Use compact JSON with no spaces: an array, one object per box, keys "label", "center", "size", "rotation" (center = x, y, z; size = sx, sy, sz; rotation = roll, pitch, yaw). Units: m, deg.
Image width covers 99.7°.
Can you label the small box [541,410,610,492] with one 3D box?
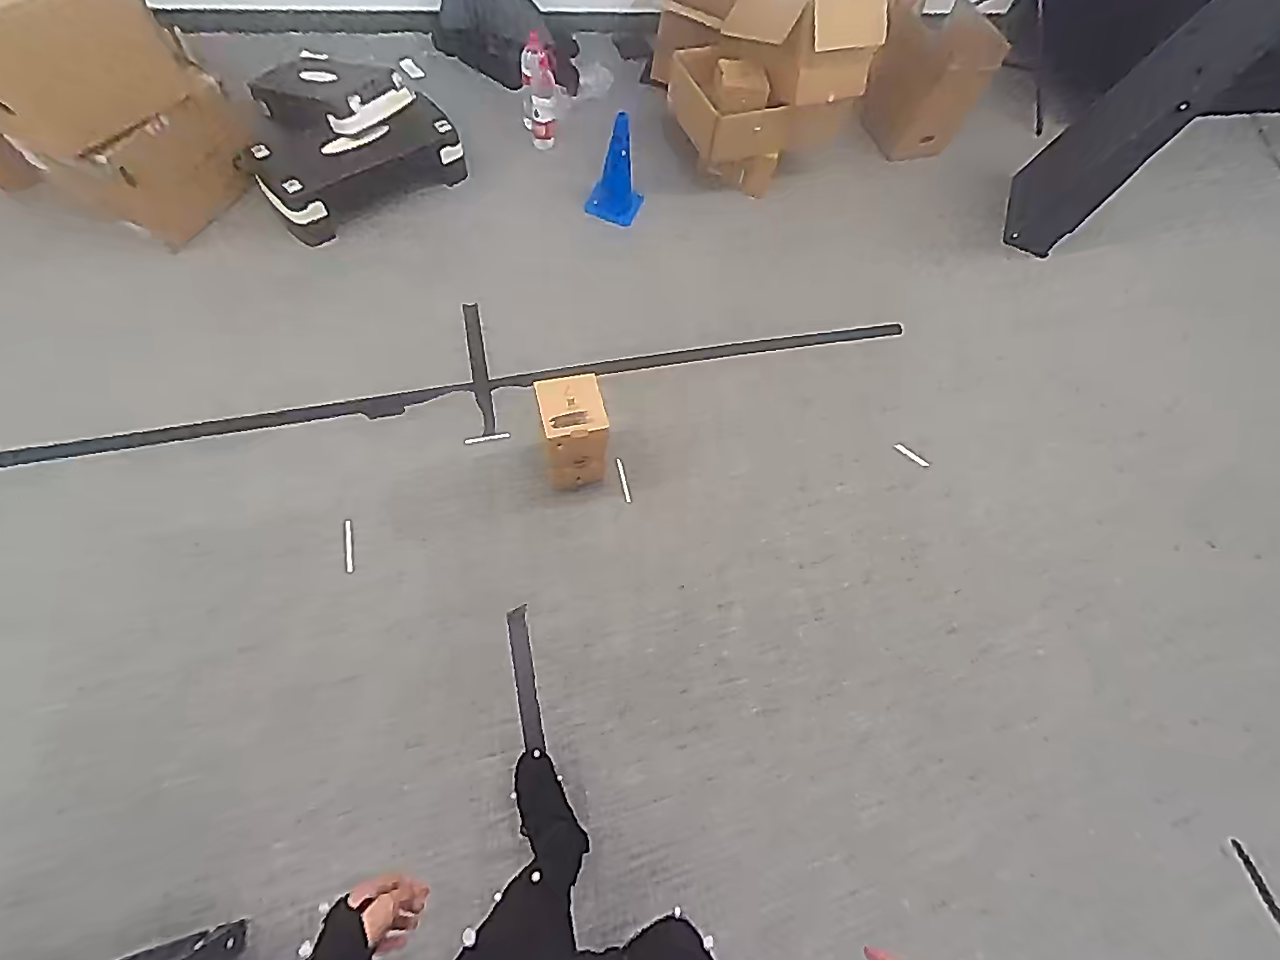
[{"label":"small box","center":[-0.198,-0.084,1.621],"size":[0.168,0.176,0.179],"rotation":[-13,70,-13]}]
